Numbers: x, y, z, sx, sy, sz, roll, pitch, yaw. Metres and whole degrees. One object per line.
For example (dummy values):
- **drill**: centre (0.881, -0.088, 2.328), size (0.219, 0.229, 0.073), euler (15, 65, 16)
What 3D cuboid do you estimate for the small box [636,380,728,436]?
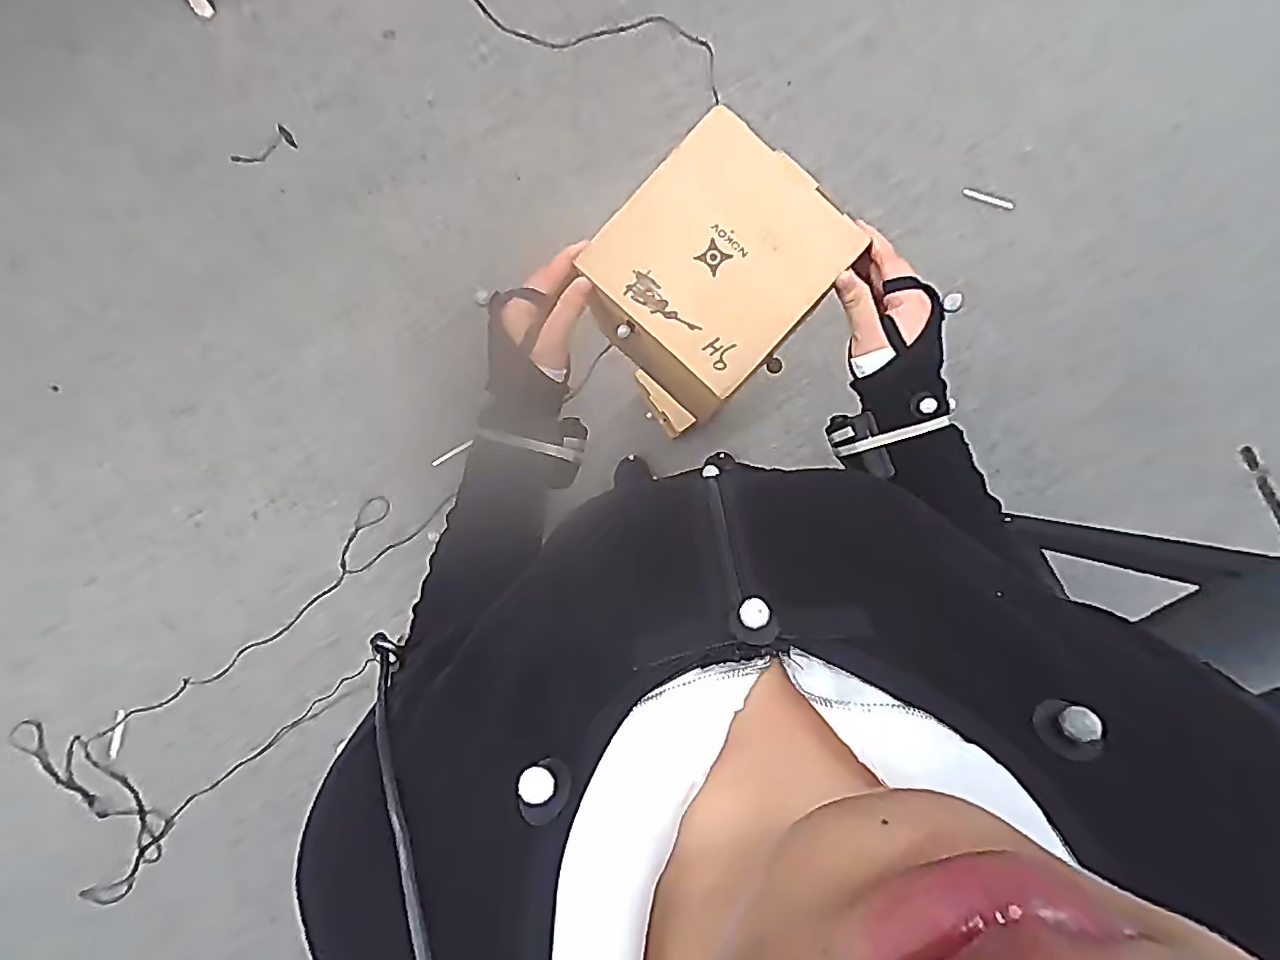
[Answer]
- **small box**: centre (0.106, -0.230, 1.420), size (0.179, 0.176, 0.168), euler (-34, 90, 4)

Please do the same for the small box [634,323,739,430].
- **small box**: centre (0.104, -0.230, 1.258), size (0.179, 0.176, 0.168), euler (-38, 91, 2)
